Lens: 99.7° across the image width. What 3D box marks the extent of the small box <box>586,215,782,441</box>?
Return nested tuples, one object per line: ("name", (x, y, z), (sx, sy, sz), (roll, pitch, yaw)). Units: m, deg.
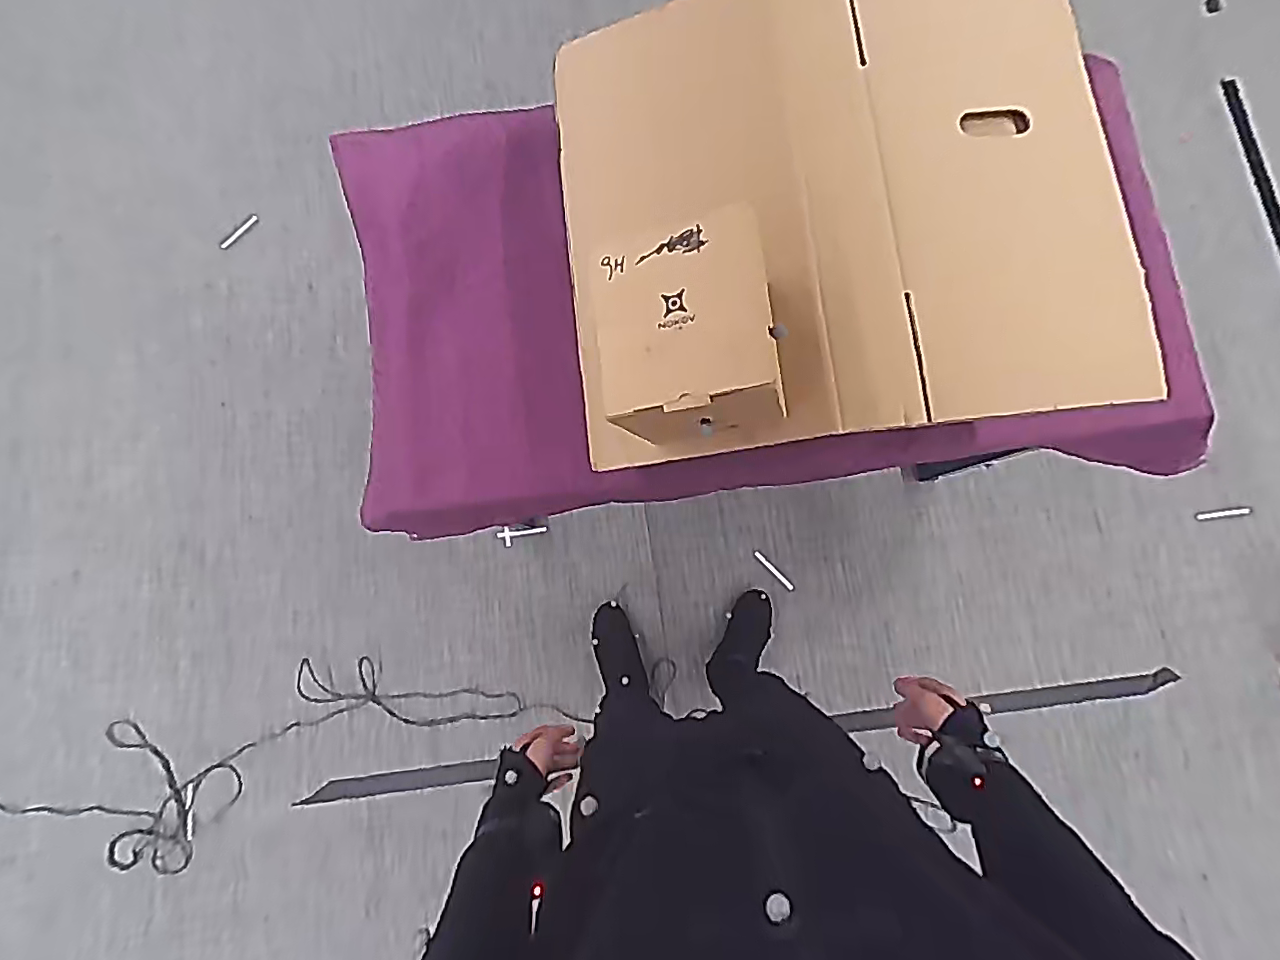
("small box", (0.056, -0.143, 0.587), (0.168, 0.176, 0.179), (-9, 83, 17))
